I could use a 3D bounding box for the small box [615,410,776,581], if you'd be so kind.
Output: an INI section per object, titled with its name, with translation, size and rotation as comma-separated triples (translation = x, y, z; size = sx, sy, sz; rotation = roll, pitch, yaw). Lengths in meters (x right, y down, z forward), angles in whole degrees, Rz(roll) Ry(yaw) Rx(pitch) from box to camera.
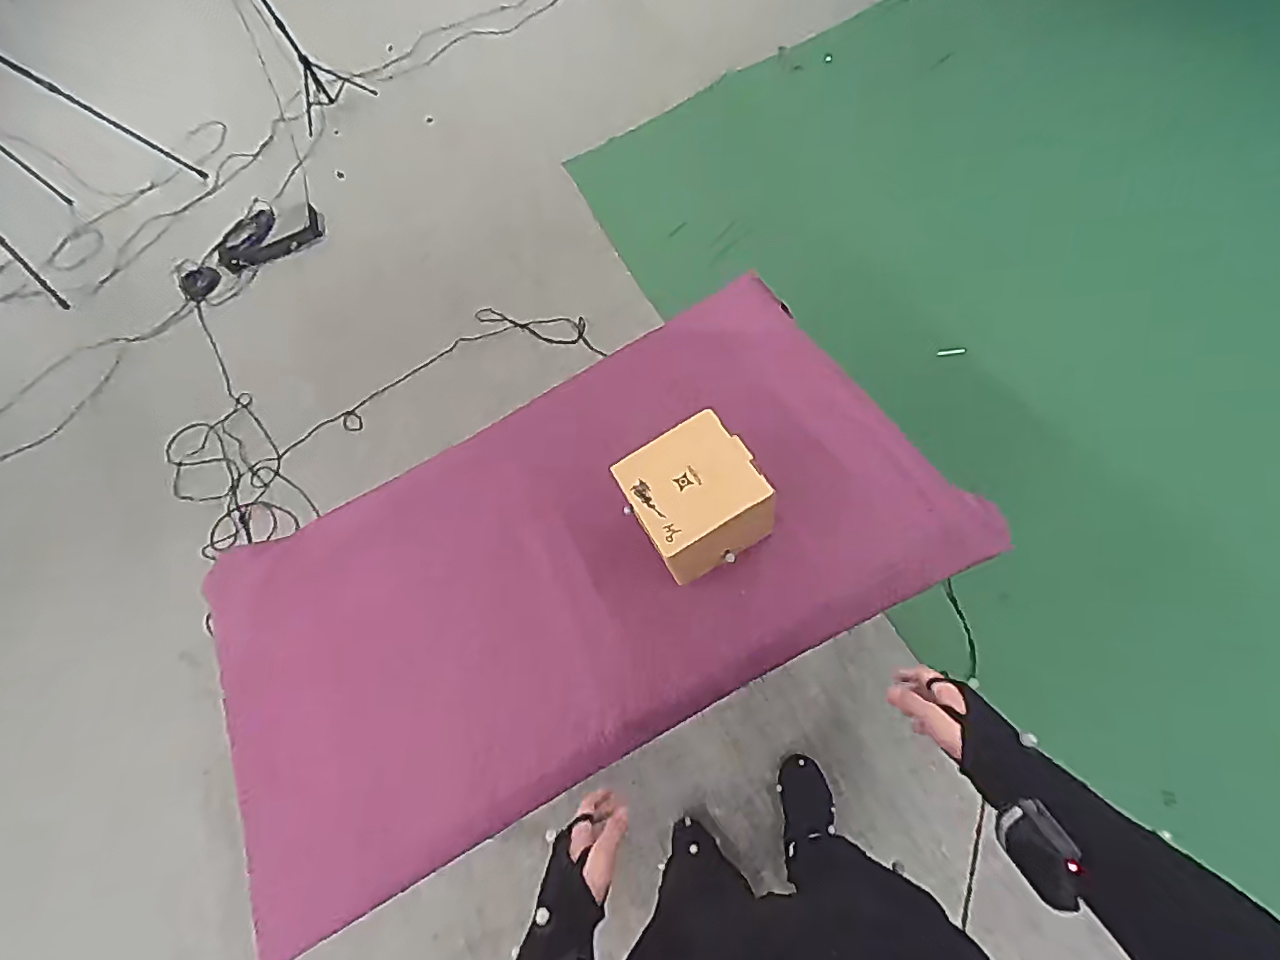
[small box]
translation = 0.087, 0.031, 0.831
size = 0.179, 0.176, 0.168
rotation = -31, 63, -2
